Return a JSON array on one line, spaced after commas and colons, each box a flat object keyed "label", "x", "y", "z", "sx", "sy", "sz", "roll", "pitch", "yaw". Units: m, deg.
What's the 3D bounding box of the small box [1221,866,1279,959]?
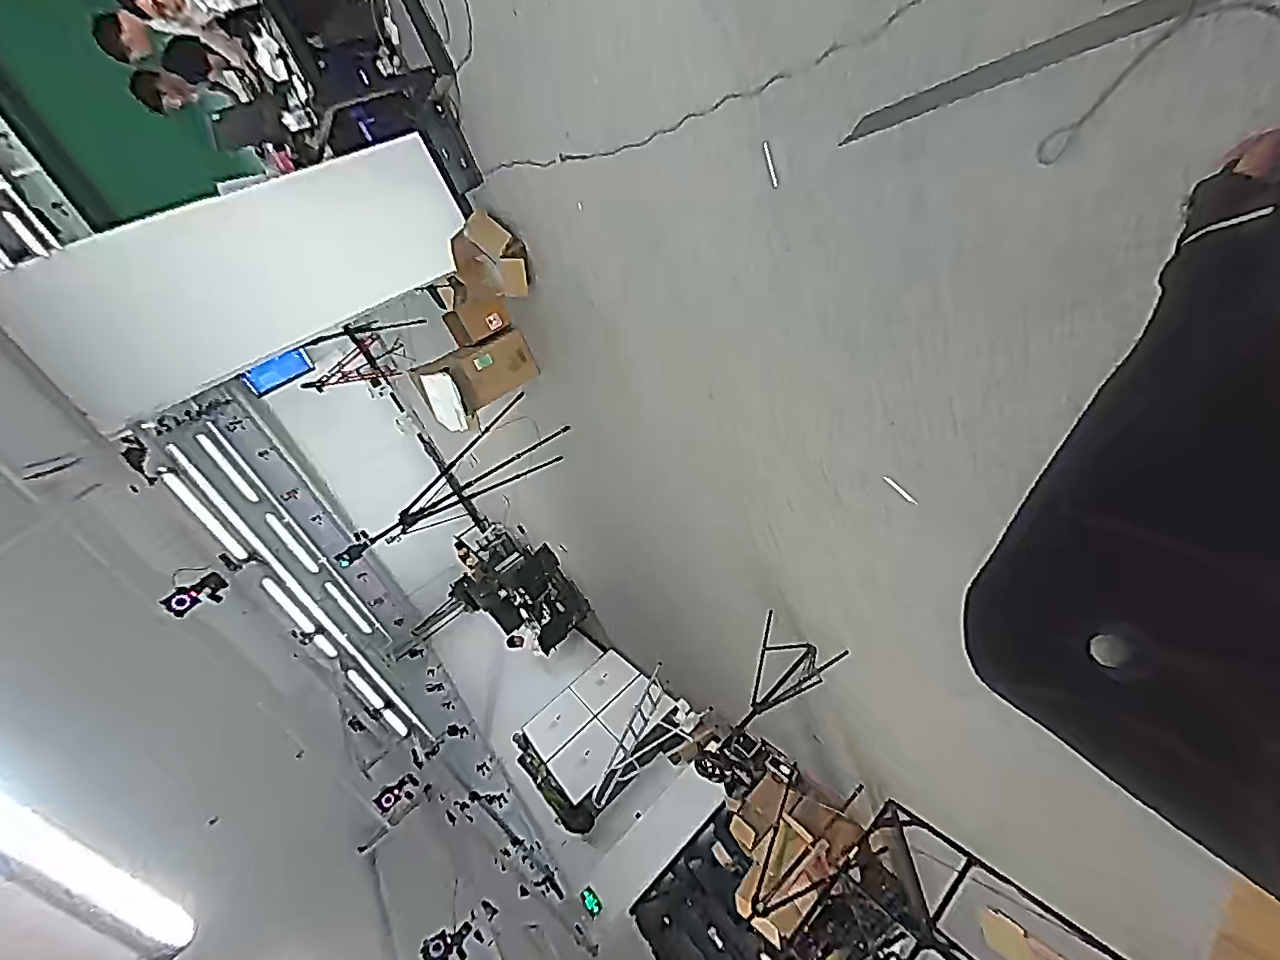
[{"label": "small box", "x": 1.192, "y": 0.858, "z": 0.978, "sx": 0.168, "sy": 0.176, "sz": 0.179, "roll": 12, "pitch": 135, "yaw": 57}]
